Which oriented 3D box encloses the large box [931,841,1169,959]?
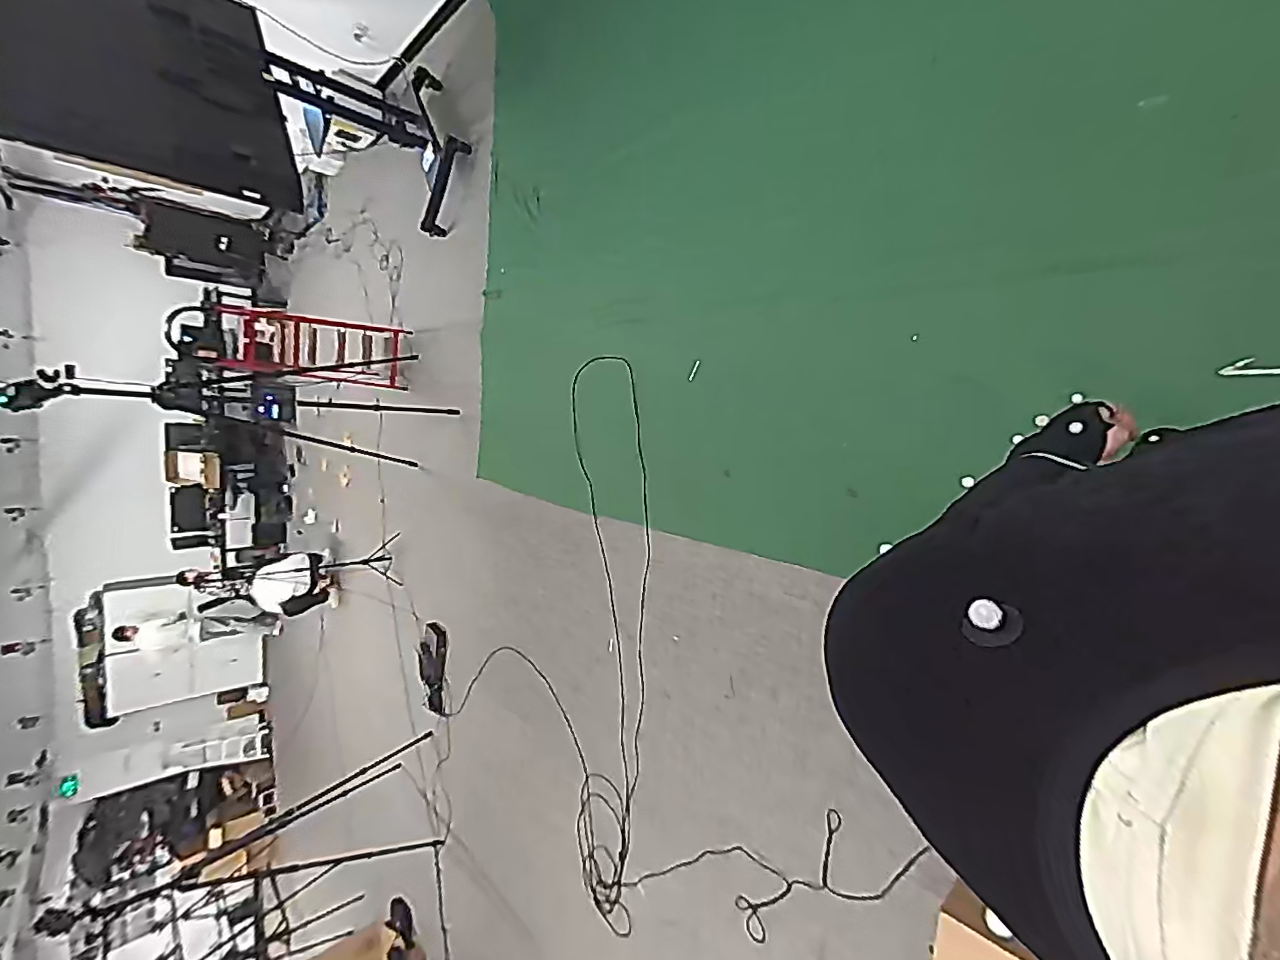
[{"bbox_3d":[0.948,1.167,1.274,0.408,0.320,0.320,9,98,44],"label":"large box"}]
